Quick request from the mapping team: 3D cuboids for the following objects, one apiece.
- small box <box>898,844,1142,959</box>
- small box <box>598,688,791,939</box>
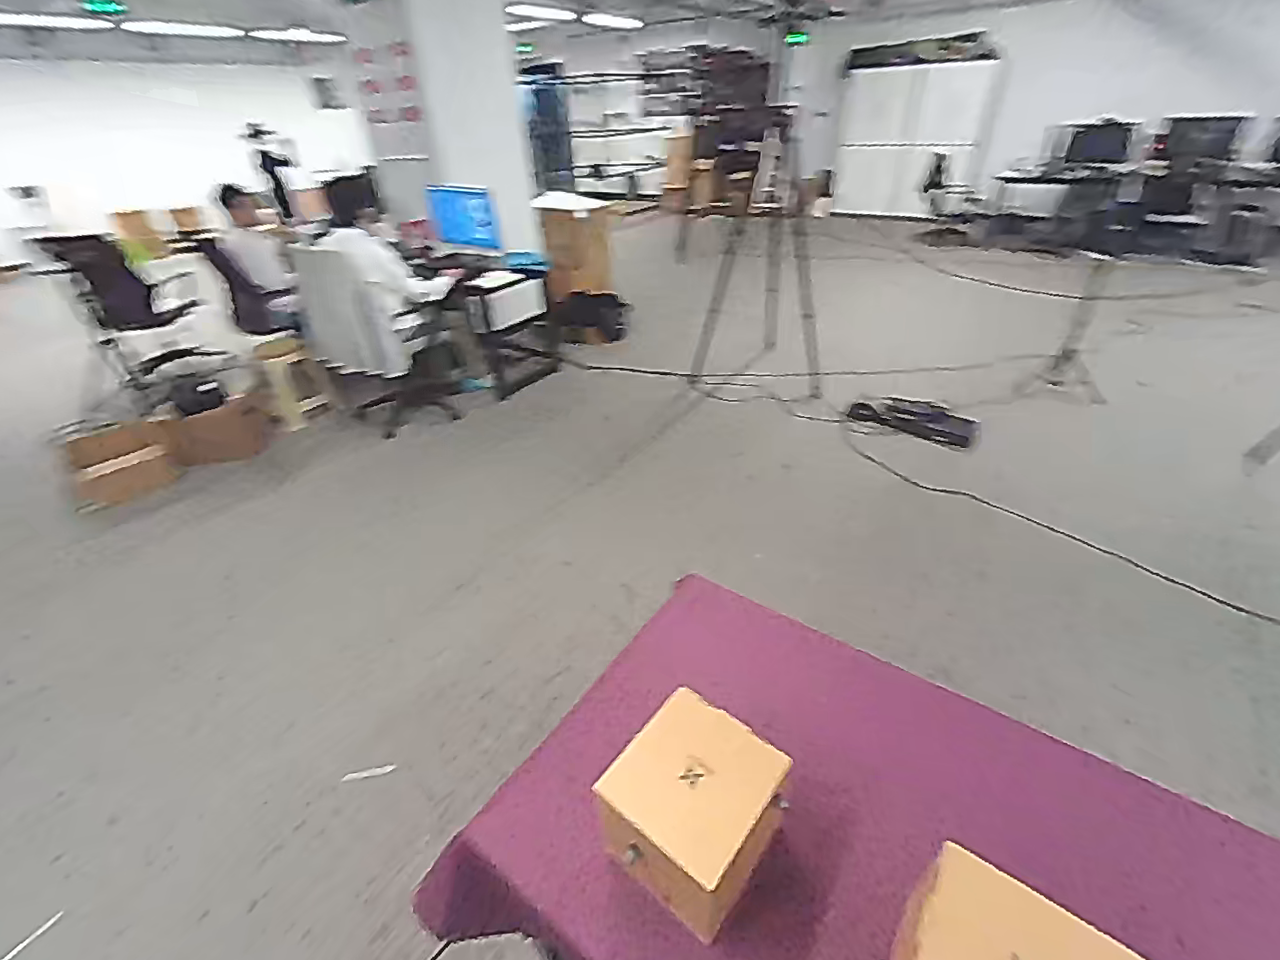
[{"bbox_3d":[0.344,0.507,0.510,0.179,0.176,0.168,23,43,33],"label":"small box"},{"bbox_3d":[0.071,0.412,0.679,0.168,0.176,0.179,23,41,34],"label":"small box"}]
